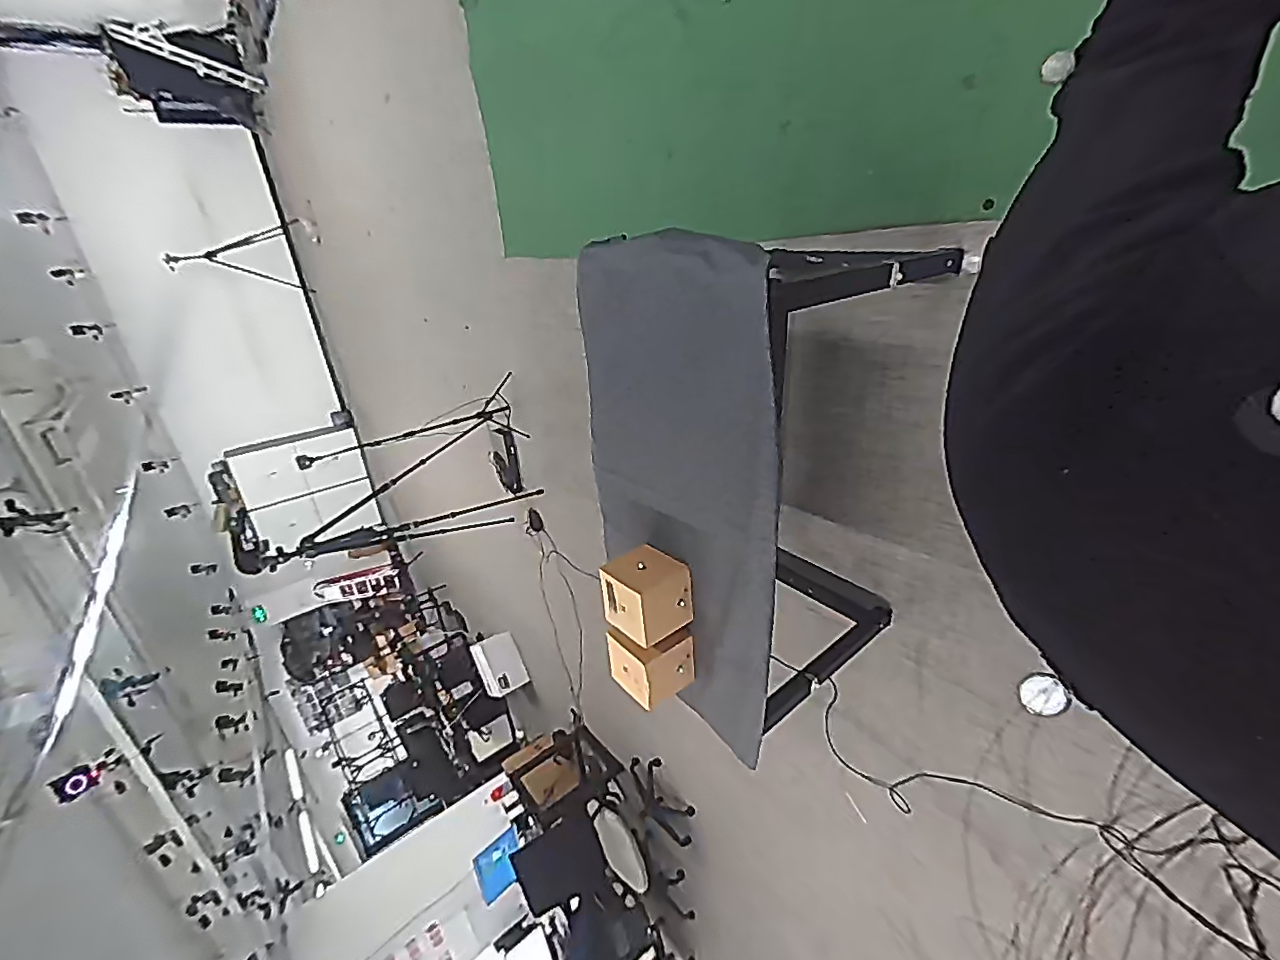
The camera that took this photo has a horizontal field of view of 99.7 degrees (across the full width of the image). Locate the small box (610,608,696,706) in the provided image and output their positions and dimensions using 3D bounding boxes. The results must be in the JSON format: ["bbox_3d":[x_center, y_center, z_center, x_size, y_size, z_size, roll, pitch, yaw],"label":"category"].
[{"bbox_3d":[0.037,0.481,1.507,0.179,0.176,0.168,25,127,47],"label":"small box"}]
